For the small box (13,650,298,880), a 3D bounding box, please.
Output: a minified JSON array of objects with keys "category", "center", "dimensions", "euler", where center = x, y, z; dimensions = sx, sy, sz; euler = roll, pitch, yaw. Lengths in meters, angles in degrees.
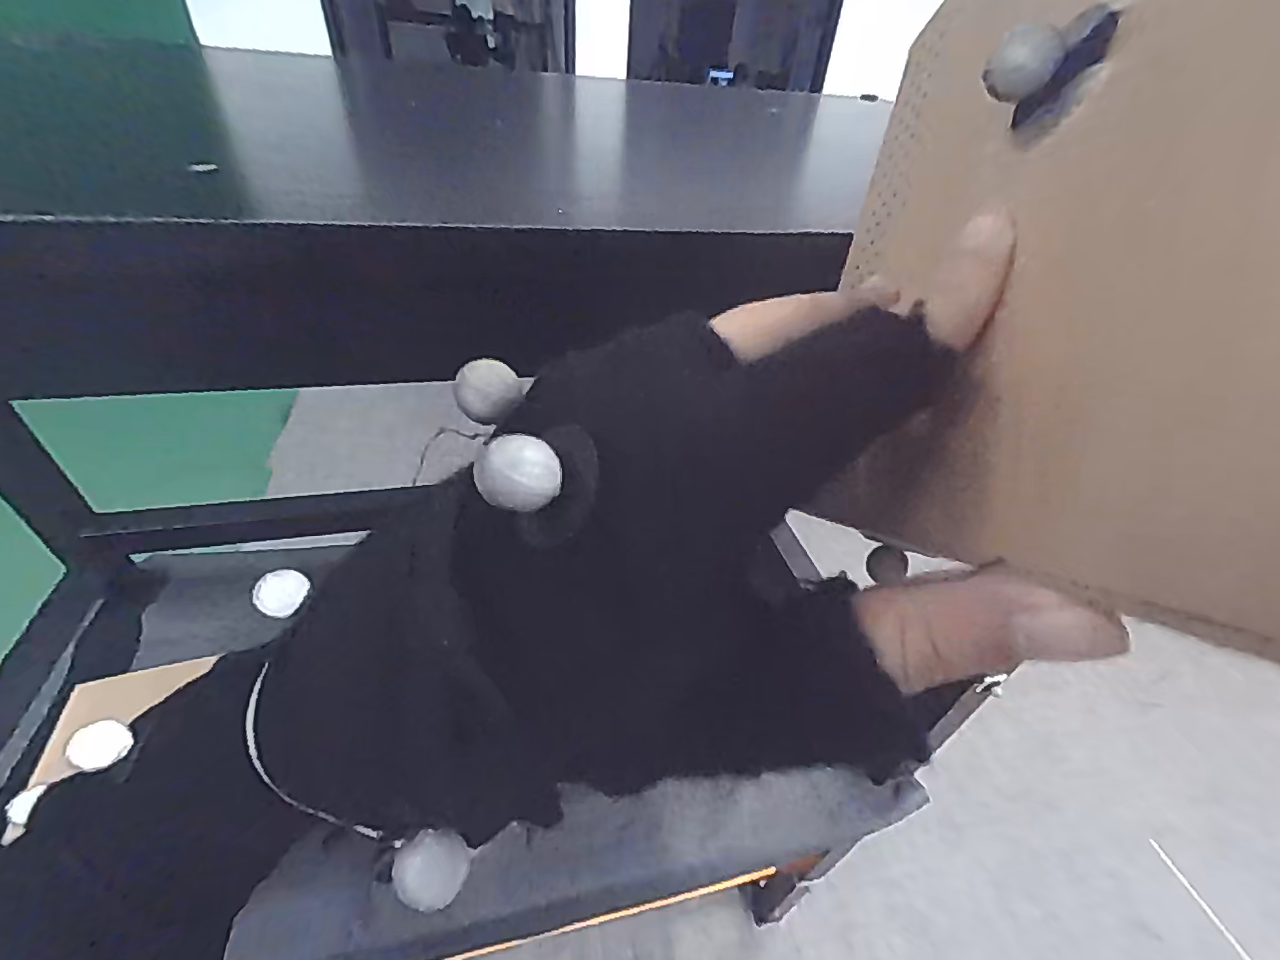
[{"category":"small box","center":[-0.540,0.335,0.640],"dimensions":[0.179,0.176,0.168],"euler":[-8,42,-17]}]
